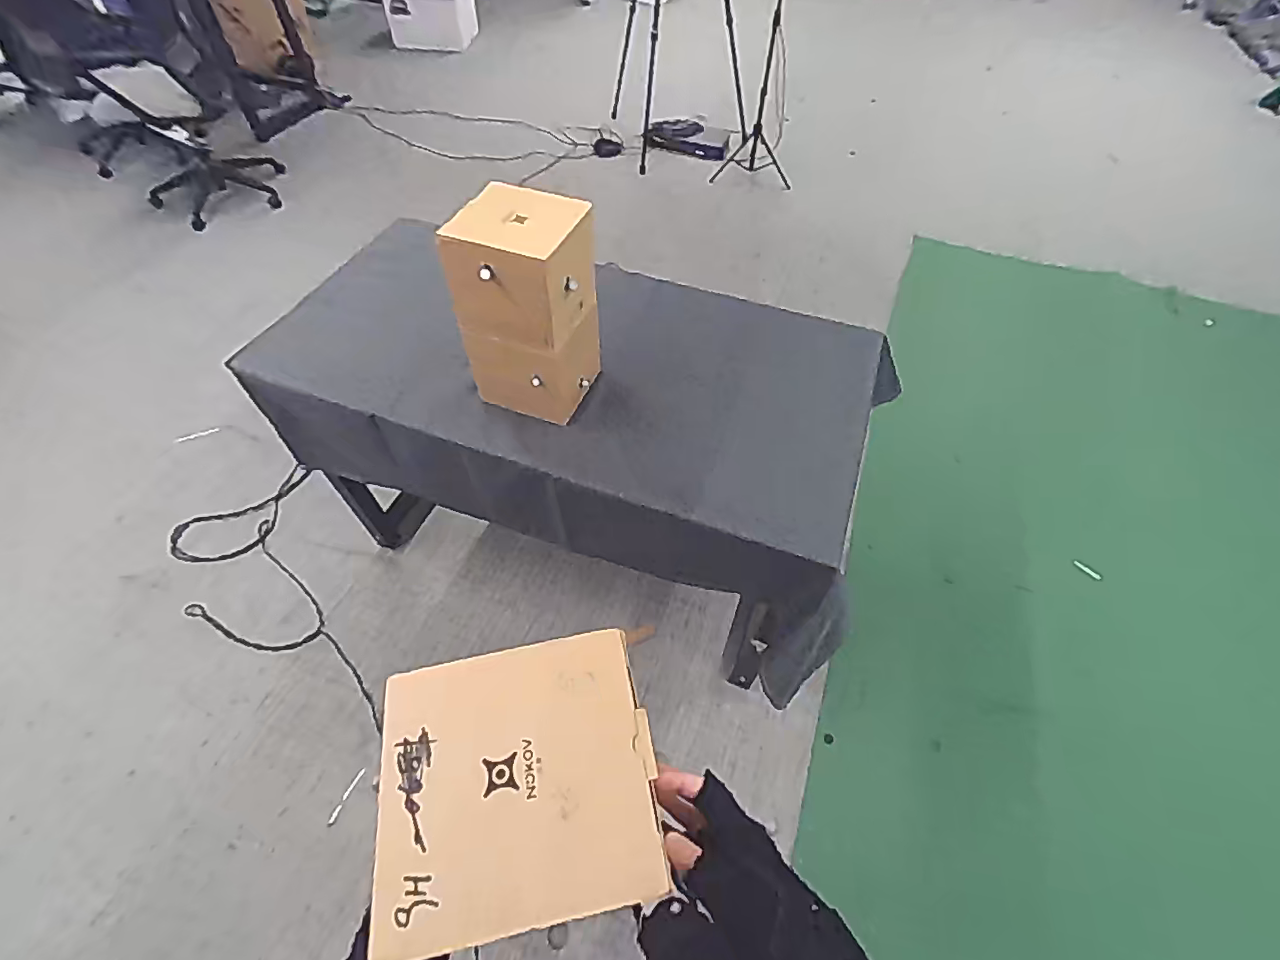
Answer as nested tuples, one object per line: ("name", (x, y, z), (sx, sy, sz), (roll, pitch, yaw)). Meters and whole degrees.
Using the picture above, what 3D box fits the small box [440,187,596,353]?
("small box", (-0.177, -0.327, 0.856), (0.179, 0.176, 0.168), (17, 55, 11))

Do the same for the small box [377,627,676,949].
("small box", (-0.078, 0.235, 0.423), (0.179, 0.176, 0.168), (-9, 53, -6))
